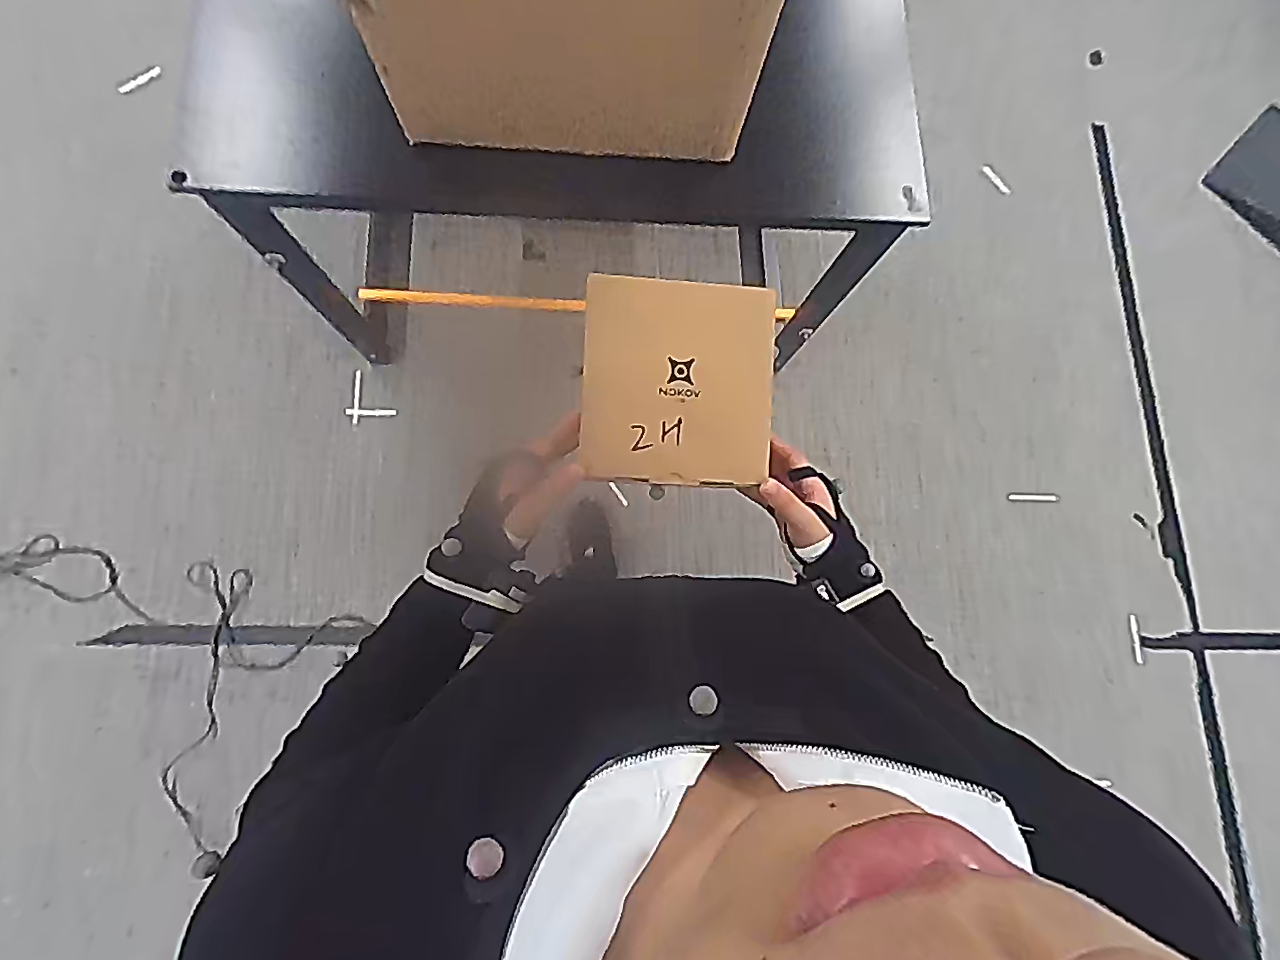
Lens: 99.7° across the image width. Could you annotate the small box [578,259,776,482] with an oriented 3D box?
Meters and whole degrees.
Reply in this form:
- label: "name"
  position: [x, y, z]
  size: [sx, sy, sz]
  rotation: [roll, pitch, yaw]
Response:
- label: "small box"
  position: [0.026, -0.092, 0.539]
  size: [0.168, 0.176, 0.179]
  rotation: [3, 88, -5]
